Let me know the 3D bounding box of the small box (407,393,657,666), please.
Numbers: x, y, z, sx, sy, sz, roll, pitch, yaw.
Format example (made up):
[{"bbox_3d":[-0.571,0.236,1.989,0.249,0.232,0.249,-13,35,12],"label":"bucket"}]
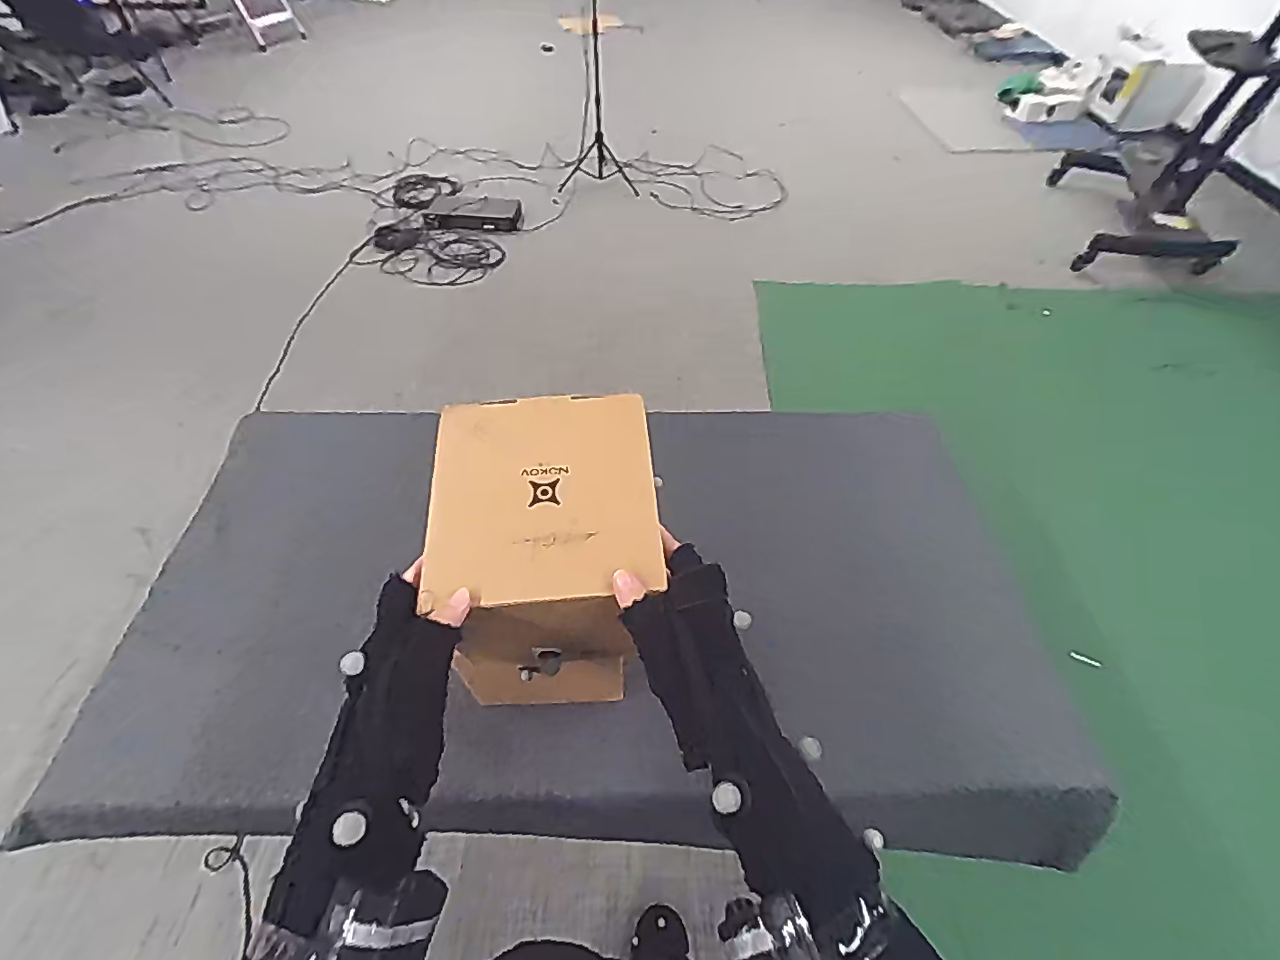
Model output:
[{"bbox_3d":[-0.077,0.047,0.463,0.168,0.176,0.179,-3,59,-3],"label":"small box"}]

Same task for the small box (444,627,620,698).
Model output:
[{"bbox_3d":[-0.114,0.157,0.657,0.179,0.176,0.168,0,52,-2],"label":"small box"}]
